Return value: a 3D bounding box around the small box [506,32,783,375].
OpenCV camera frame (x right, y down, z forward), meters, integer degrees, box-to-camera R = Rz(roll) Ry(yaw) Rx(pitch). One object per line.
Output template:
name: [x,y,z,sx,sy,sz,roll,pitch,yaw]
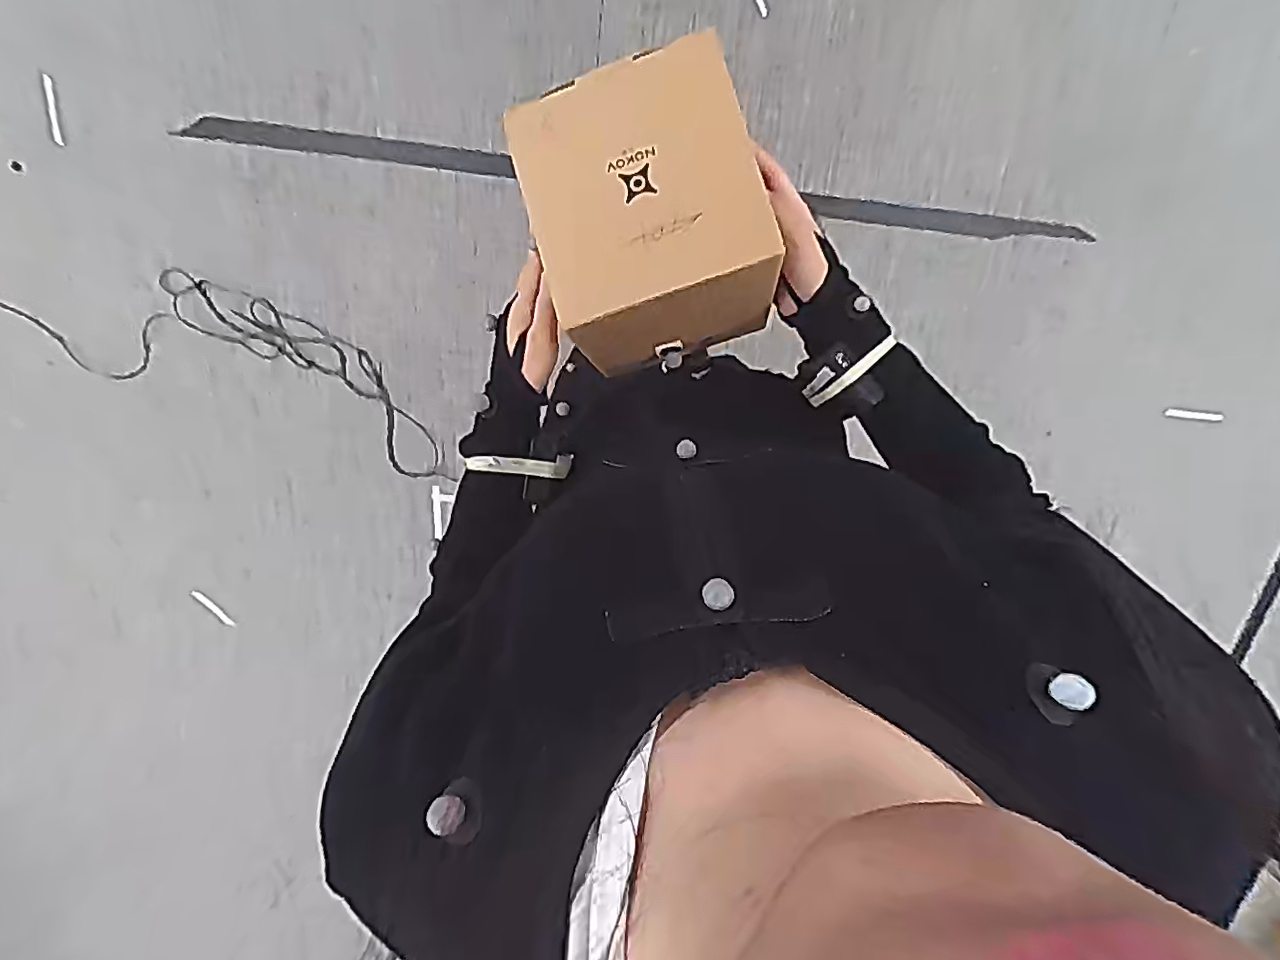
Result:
small box: [0.010,-0.212,0.466,0.168,0.176,0.179,-17,86,8]
